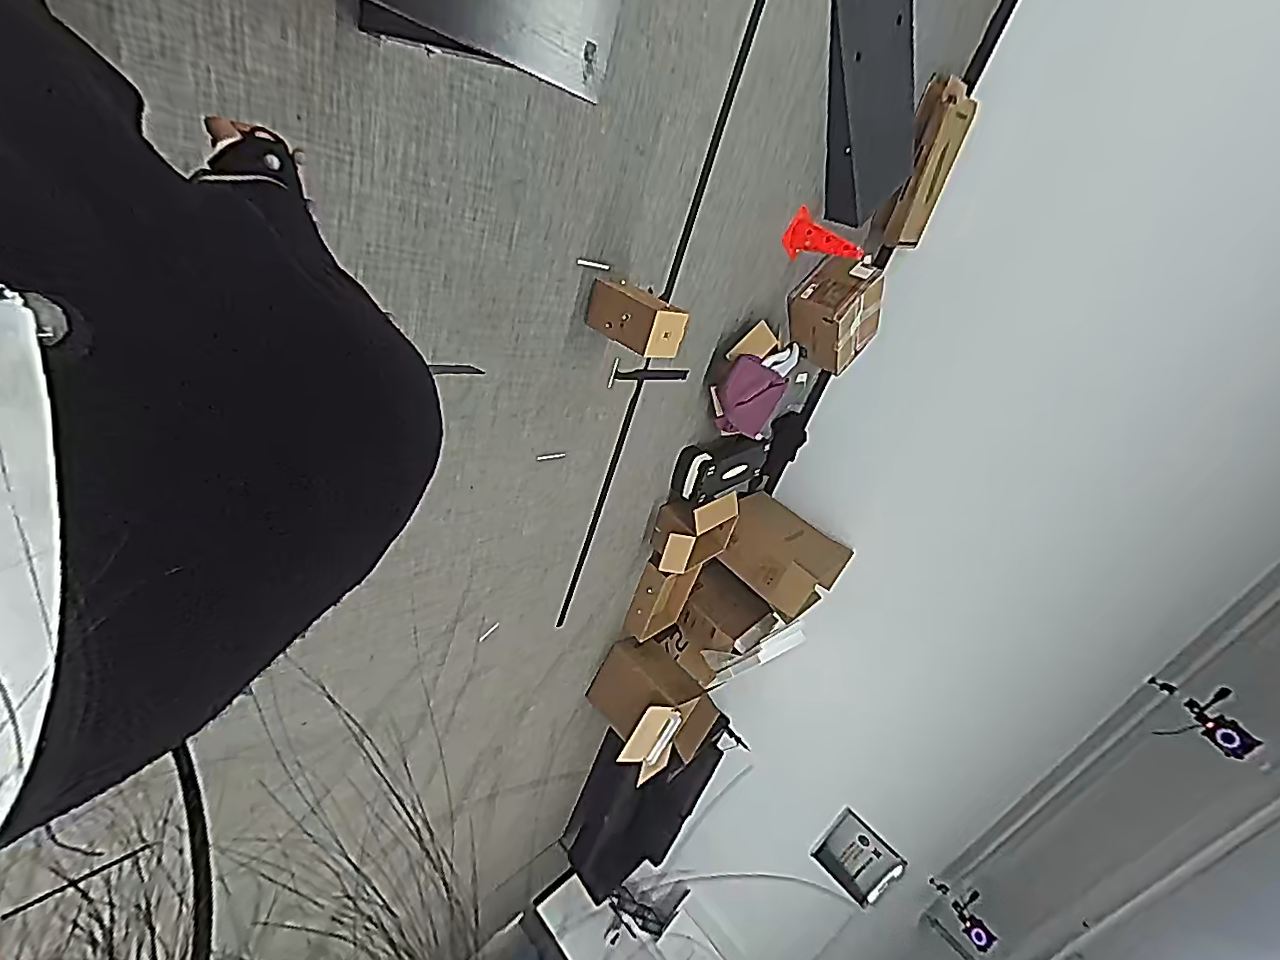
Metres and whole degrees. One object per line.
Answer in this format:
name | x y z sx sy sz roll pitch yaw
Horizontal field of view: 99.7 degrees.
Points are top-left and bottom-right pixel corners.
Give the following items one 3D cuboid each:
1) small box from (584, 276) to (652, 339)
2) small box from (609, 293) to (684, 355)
small box | -0.087 -0.637 2.005 0.168 0.176 0.179 -15 133 -46
small box | 0.021 -0.553 1.918 0.179 0.176 0.168 -13 130 -46
